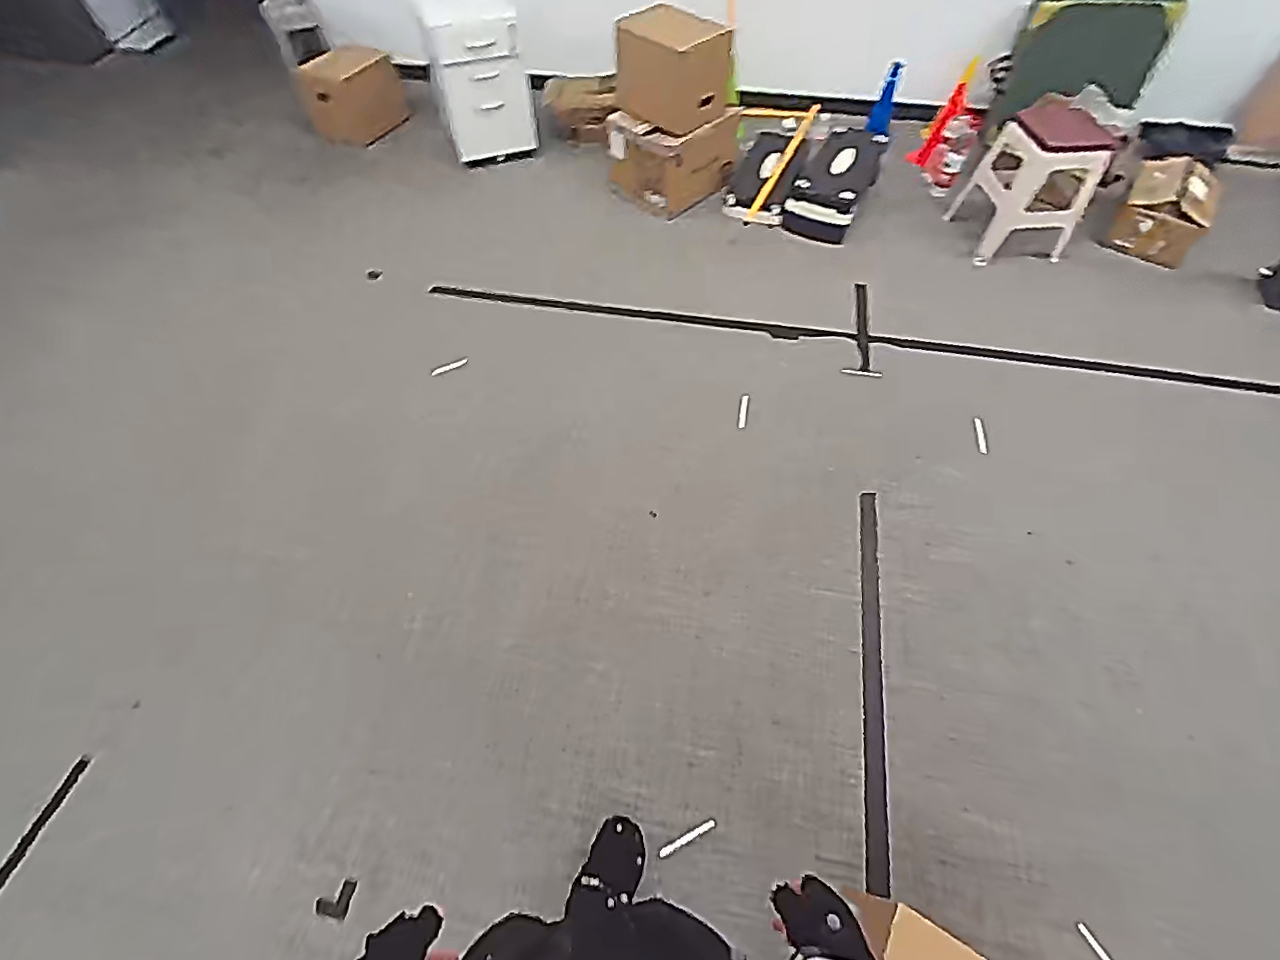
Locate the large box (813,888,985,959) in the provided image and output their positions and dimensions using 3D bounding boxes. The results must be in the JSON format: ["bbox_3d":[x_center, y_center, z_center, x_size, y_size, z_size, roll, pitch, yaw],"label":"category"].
[{"bbox_3d":[0.517,0.988,0.918,0.408,0.320,0.320,27,60,17],"label":"large box"}]
